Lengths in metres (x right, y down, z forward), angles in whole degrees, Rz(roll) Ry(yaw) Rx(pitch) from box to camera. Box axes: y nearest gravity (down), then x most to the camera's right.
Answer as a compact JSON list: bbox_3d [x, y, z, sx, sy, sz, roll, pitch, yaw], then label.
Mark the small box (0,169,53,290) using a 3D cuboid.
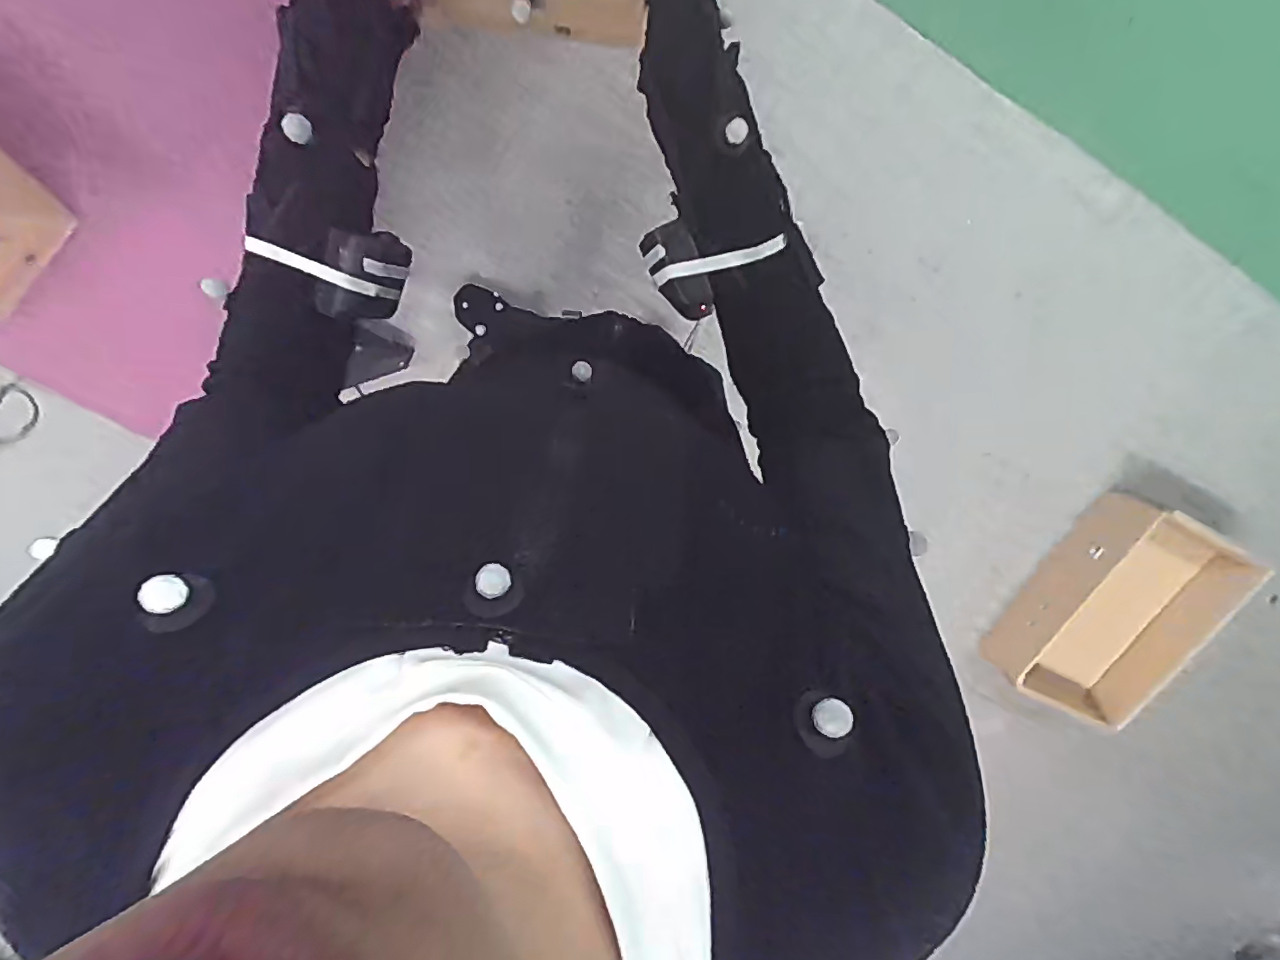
[{"bbox_3d":[-0.755,-0.273,0.520,0.168,0.176,0.179,-40,105,11],"label":"small box"}]
